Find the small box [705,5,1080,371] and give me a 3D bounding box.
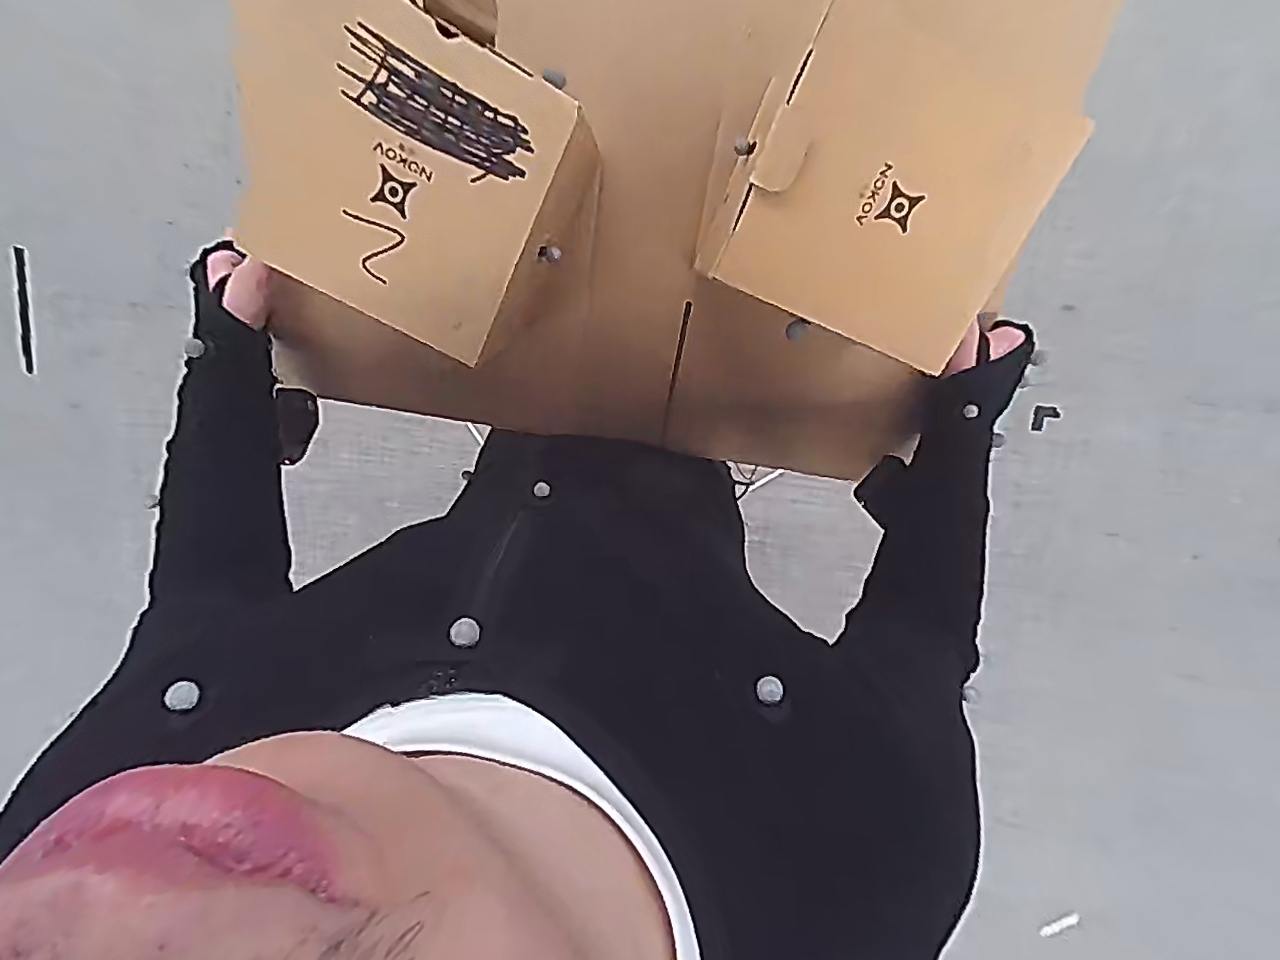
[{"bbox_3d":[0.164,-0.209,0.423,0.179,0.176,0.168,21,113,-6],"label":"small box"}]
